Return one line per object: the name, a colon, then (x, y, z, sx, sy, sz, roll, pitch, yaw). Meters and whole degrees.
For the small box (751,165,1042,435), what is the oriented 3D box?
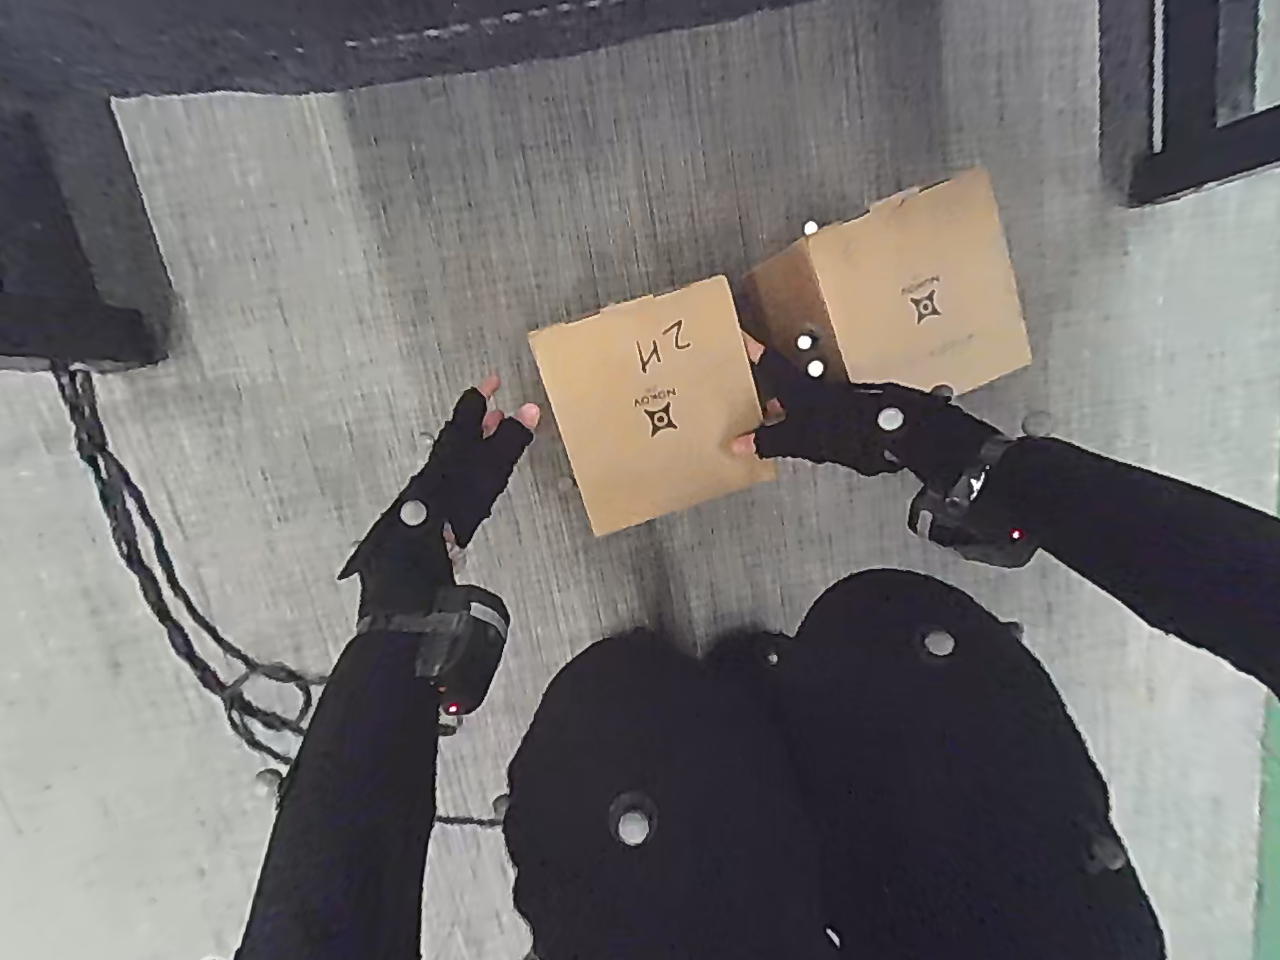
small box: (0.228, -0.156, 0.521, 0.168, 0.176, 0.179, -23, 101, -3)
